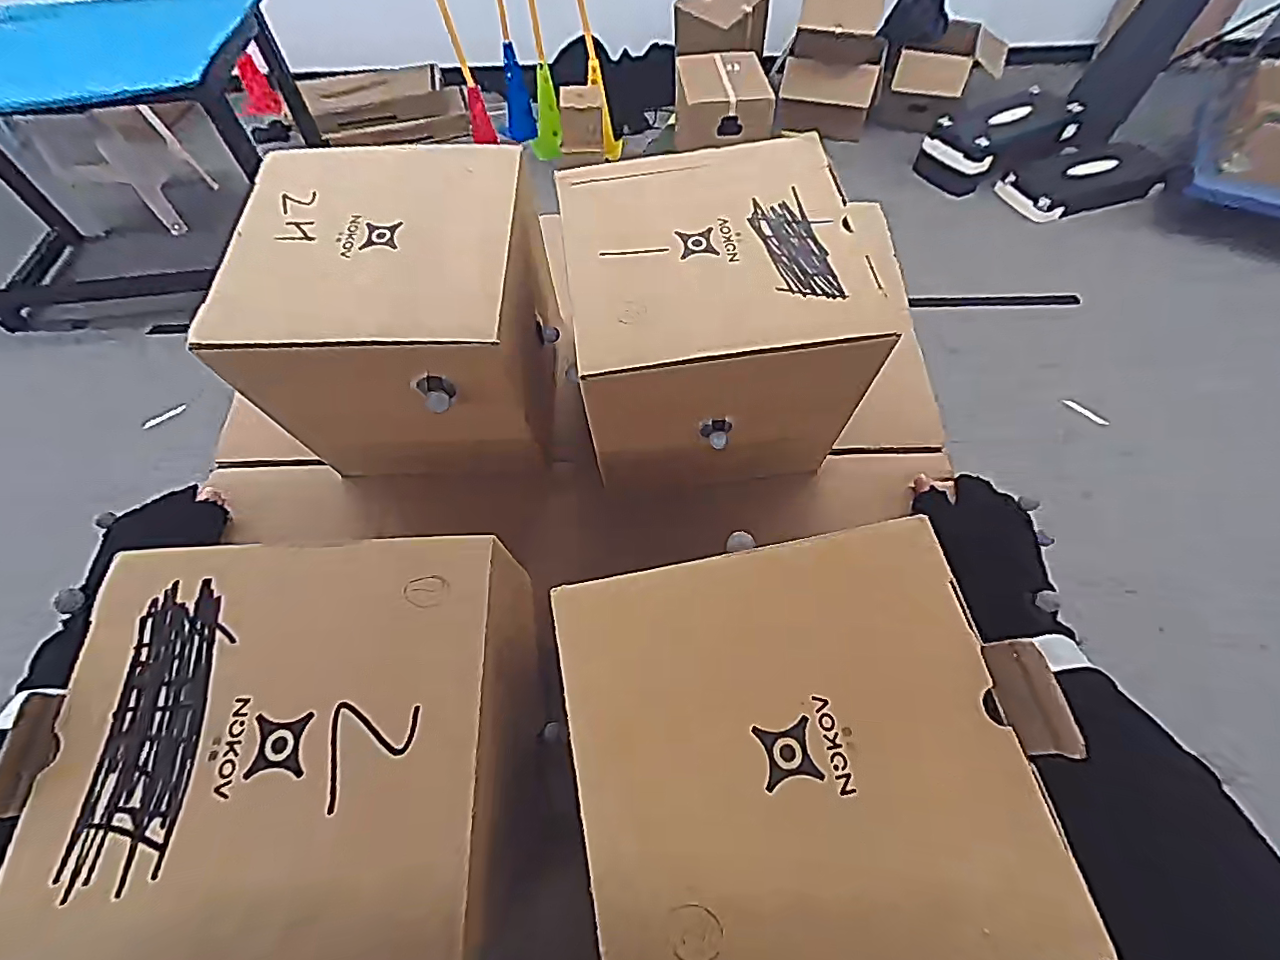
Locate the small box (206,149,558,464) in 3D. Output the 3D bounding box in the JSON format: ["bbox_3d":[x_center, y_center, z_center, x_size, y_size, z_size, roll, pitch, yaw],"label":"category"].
[{"bbox_3d":[-0.164,-0.121,0.417,0.179,0.176,0.168,0,65,2],"label":"small box"}]
